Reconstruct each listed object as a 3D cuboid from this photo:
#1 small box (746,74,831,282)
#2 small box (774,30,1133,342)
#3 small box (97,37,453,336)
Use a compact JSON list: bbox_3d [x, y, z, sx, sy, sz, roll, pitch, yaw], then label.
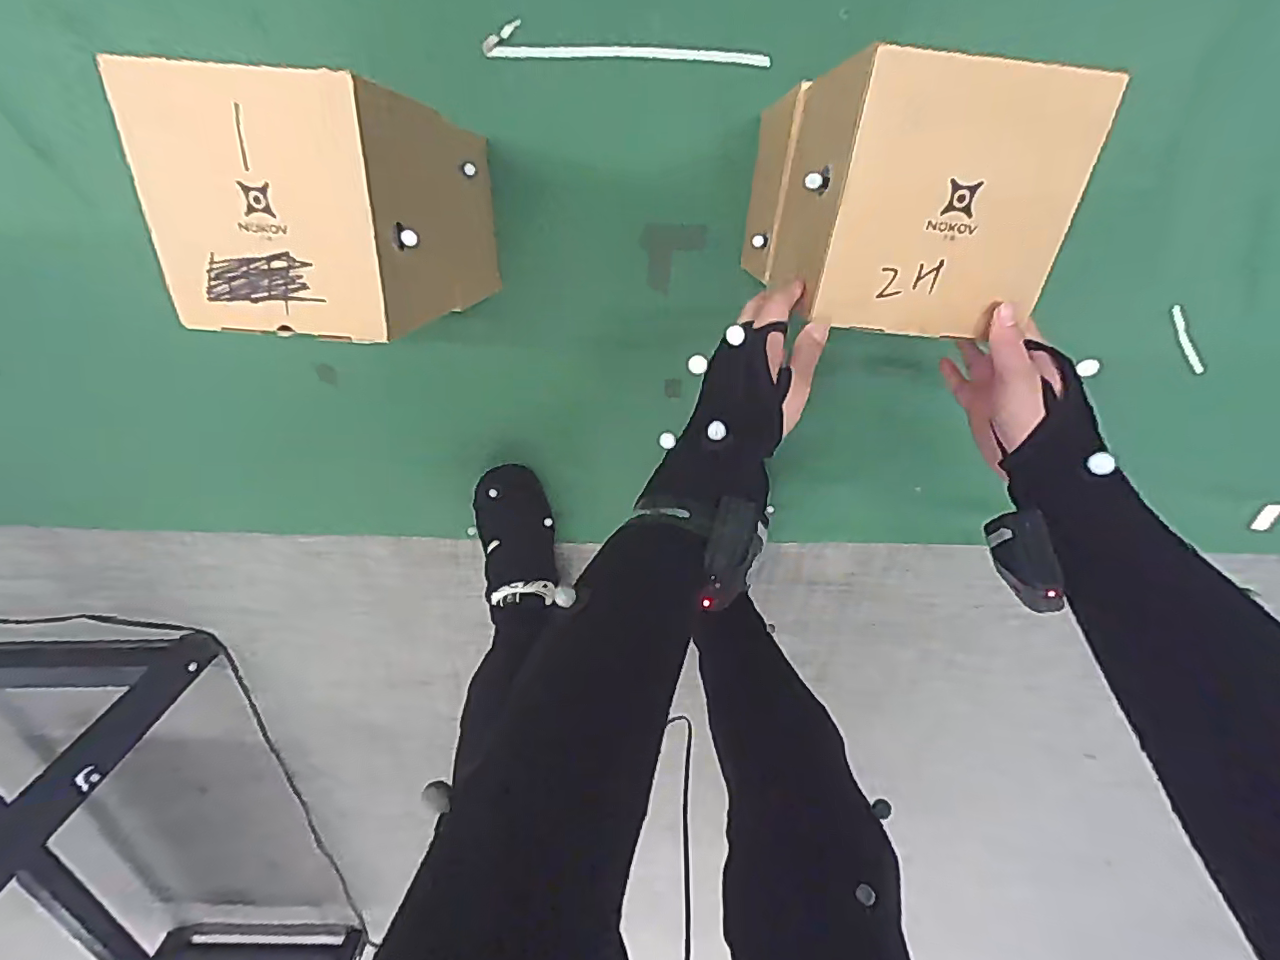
[{"bbox_3d":[0.219,-0.312,0.585,0.168,0.176,0.179,4,120,-2],"label":"small box"},{"bbox_3d":[0.220,-0.229,0.443,0.168,0.176,0.179,6,119,-2],"label":"small box"},{"bbox_3d":[-0.266,-0.232,0.451,0.168,0.176,0.179,4,117,-1],"label":"small box"}]
